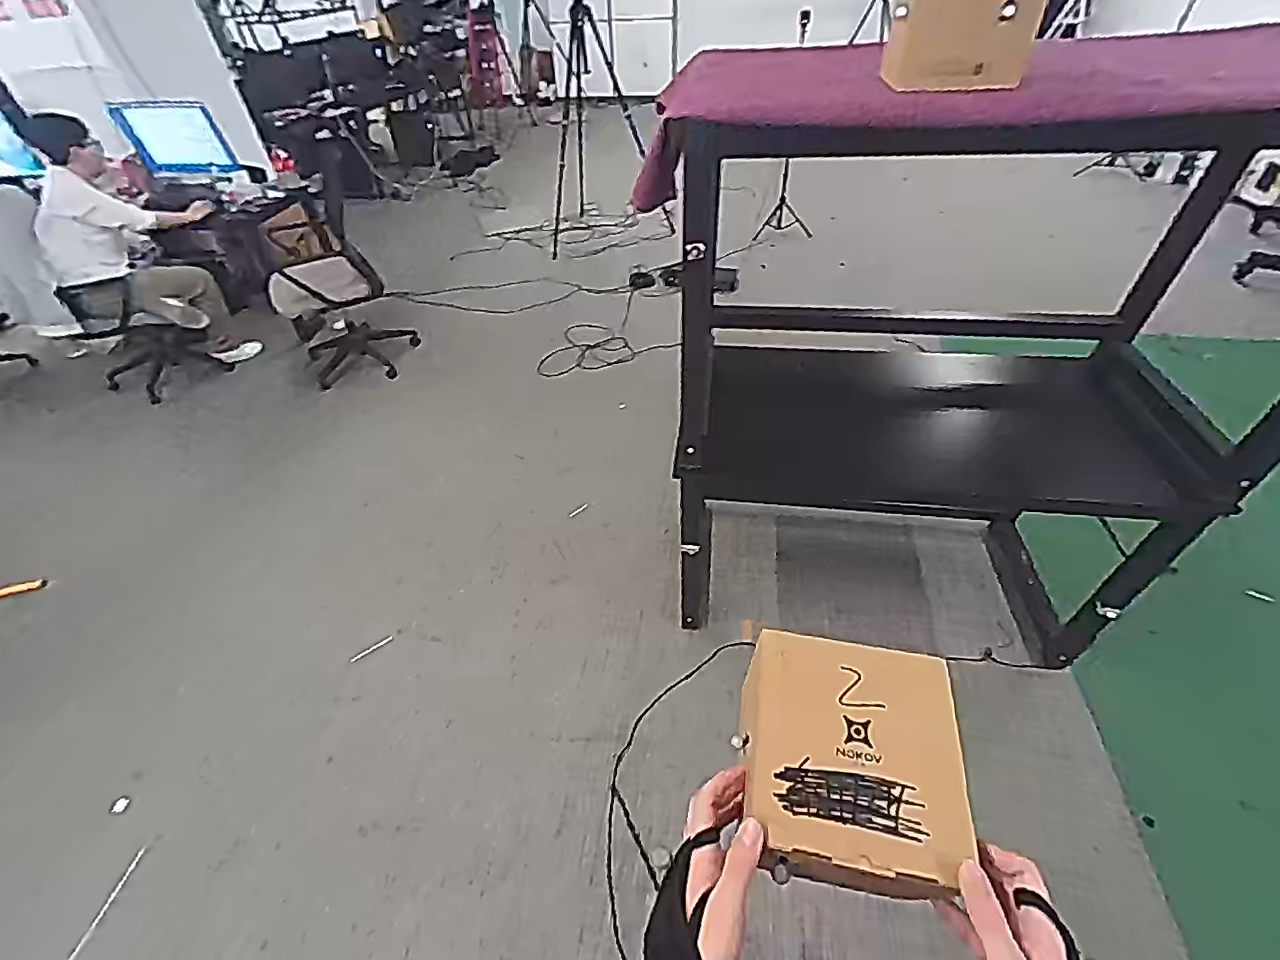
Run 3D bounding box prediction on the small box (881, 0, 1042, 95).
[{"bbox_3d":[0.469,-0.678,0.794,0.168,0.176,0.179,6,43,9],"label":"small box"}]
